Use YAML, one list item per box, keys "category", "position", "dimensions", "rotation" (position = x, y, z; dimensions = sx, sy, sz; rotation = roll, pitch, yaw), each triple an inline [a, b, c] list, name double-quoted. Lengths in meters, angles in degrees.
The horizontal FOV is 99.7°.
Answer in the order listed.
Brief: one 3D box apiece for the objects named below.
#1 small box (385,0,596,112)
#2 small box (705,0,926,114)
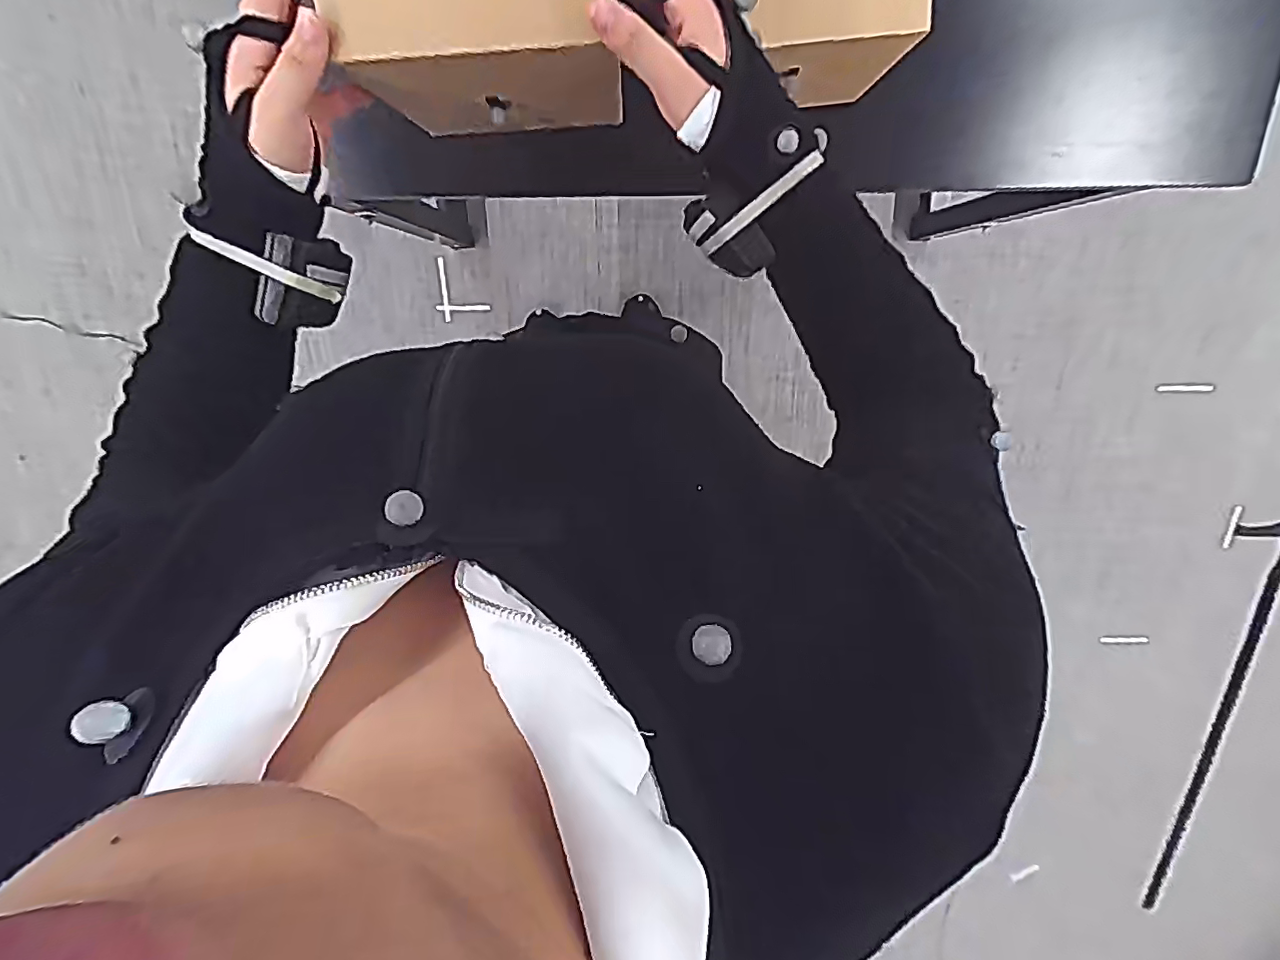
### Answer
- category: "small box"
  position: [-0.138, -0.484, 0.523]
  dimensions: [0.179, 0.176, 0.168]
  rotation: [-5, 107, 1]
- category: "small box"
  position: [0.157, -0.486, 0.531]
  dimensions: [0.179, 0.176, 0.168]
  rotation: [-5, 107, 1]
